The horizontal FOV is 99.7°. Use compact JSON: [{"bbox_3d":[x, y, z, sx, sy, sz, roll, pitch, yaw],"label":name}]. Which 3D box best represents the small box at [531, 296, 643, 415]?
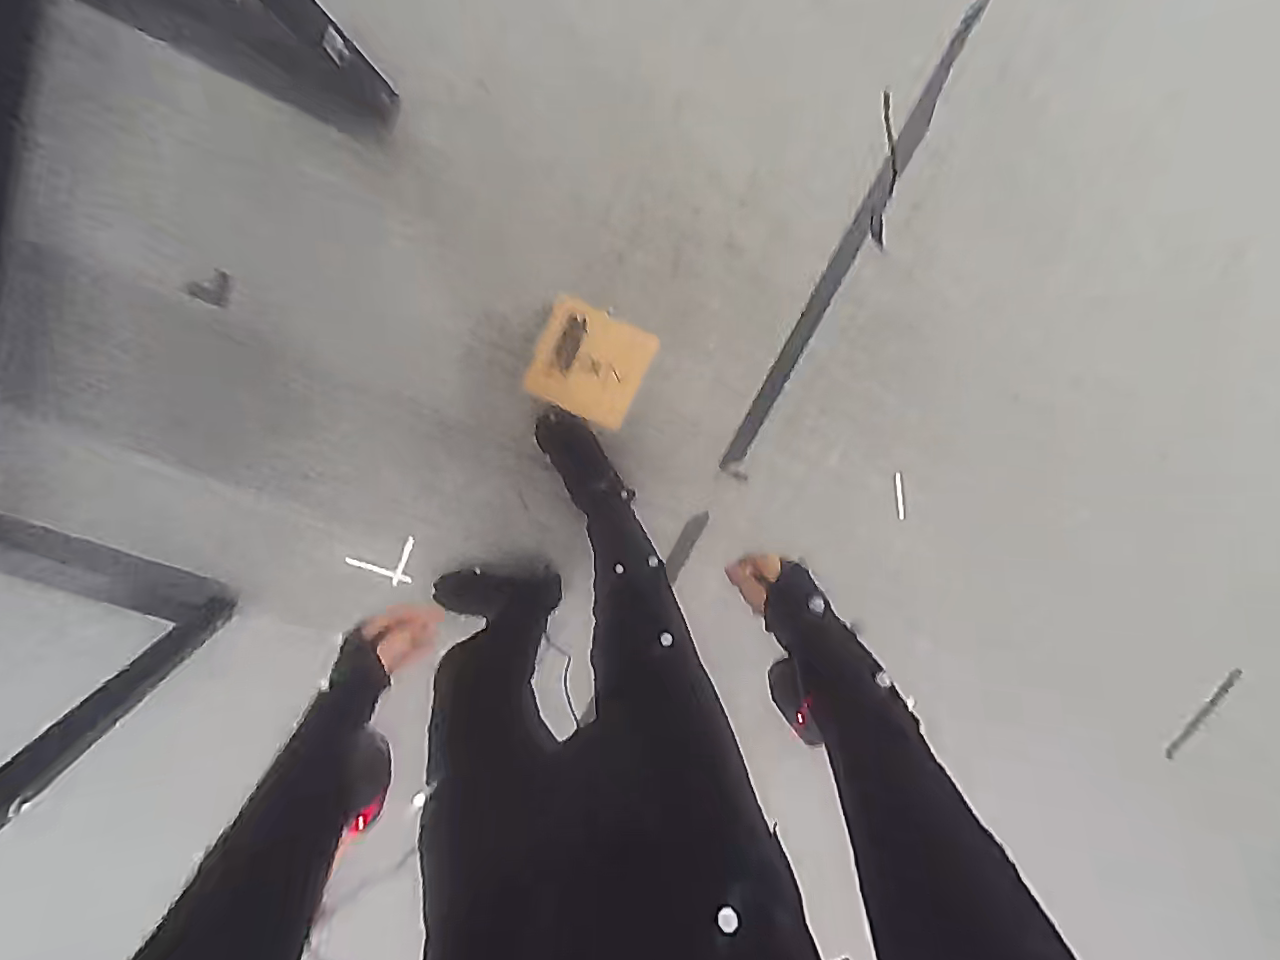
[{"bbox_3d":[-0.110,-0.255,1.091,0.168,0.176,0.179,21,105,-12],"label":"small box"}]
